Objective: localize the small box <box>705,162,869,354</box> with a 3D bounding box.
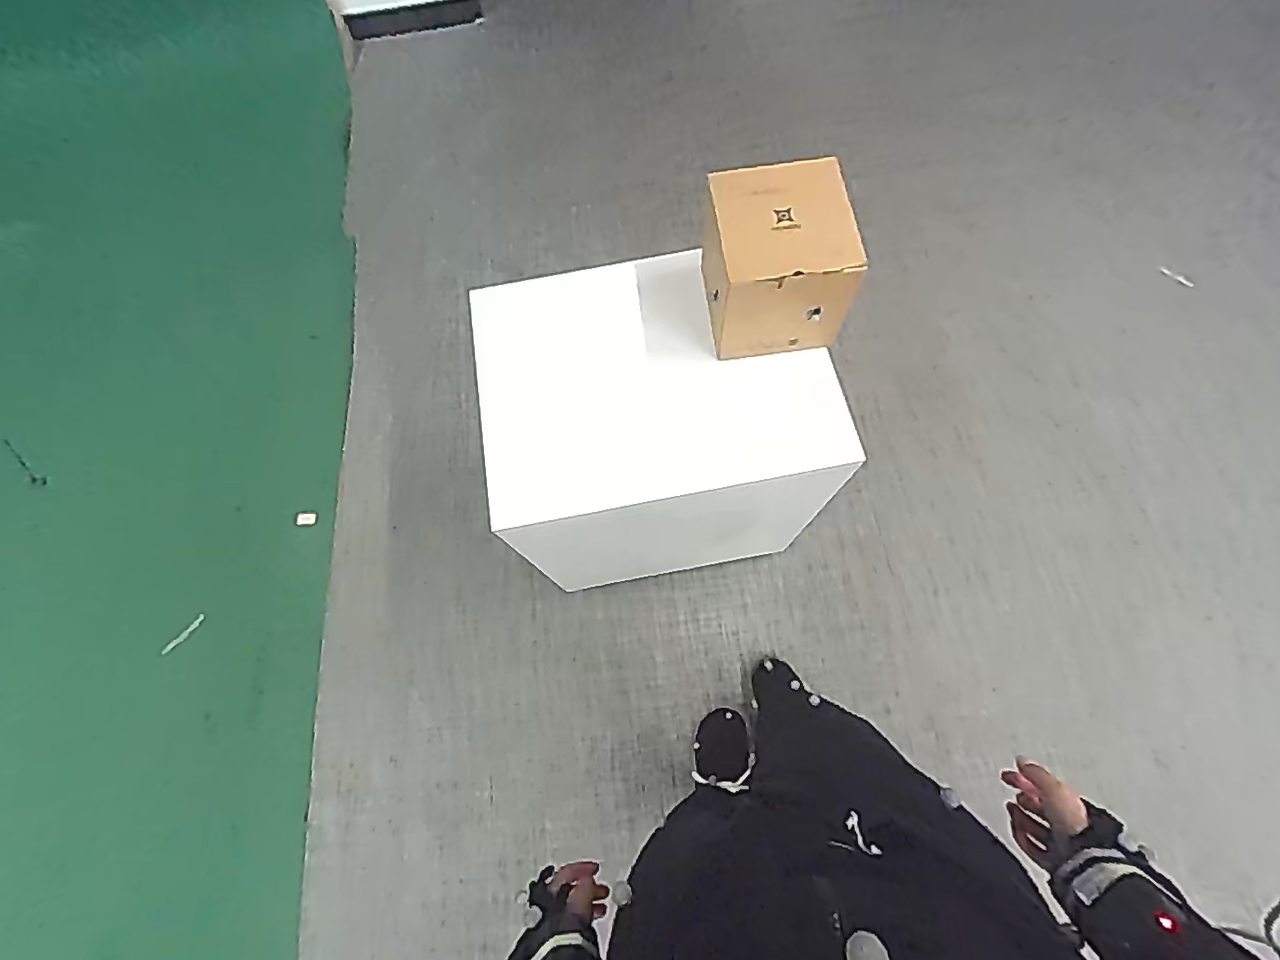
[{"bbox_3d":[0.183,-0.285,0.730,0.168,0.176,0.179,-7,70,0],"label":"small box"}]
